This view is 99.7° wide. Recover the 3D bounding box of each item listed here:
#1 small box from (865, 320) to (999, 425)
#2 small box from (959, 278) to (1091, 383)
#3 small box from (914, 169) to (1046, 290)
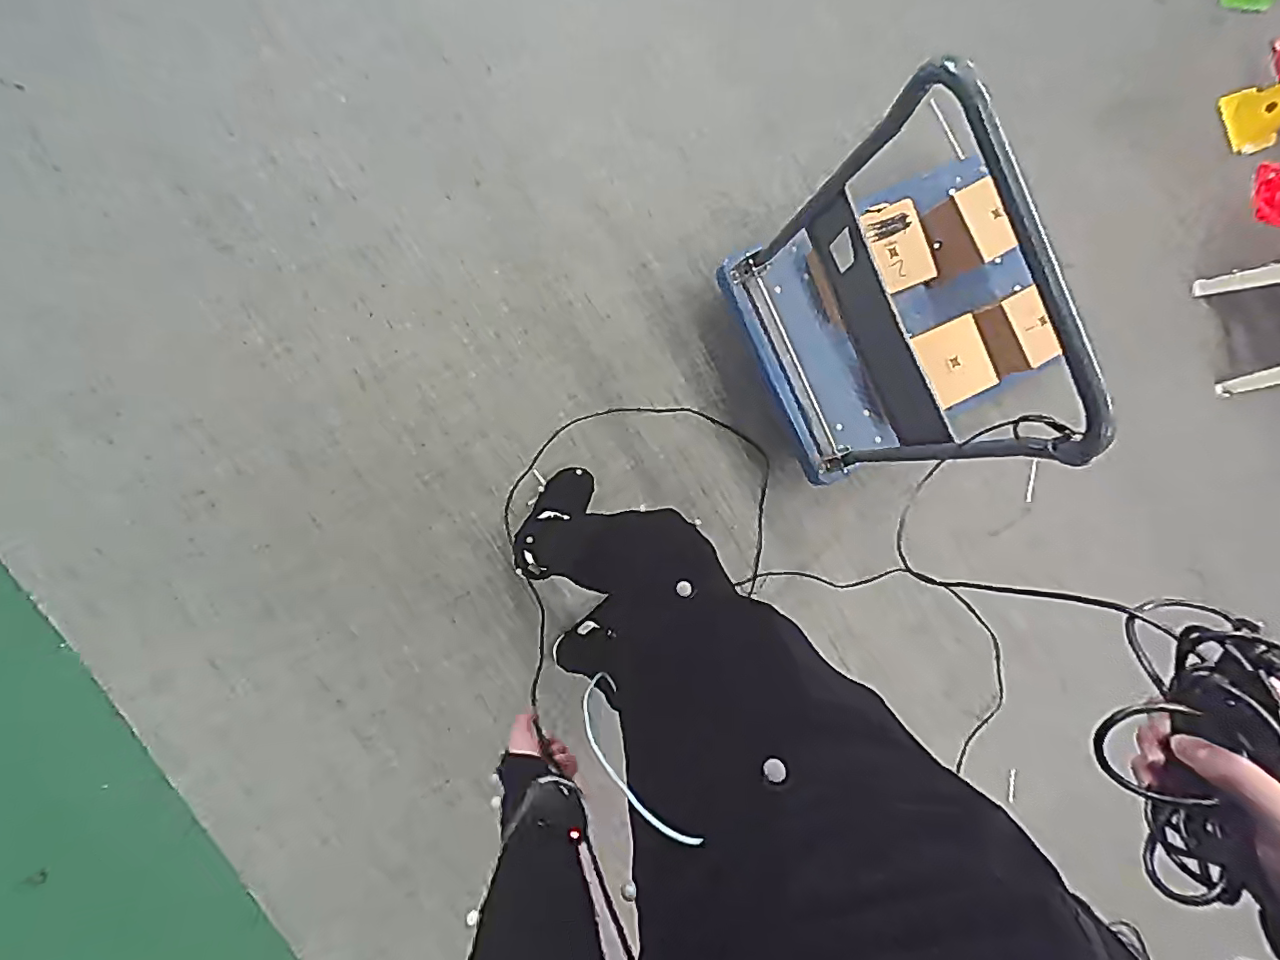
[{"bbox_3d":[0.652,-0.236,1.221,0.179,0.176,0.168,-24,93,-10],"label":"small box"},{"bbox_3d":[0.884,-0.338,1.267,0.179,0.176,0.168,-27,93,-10],"label":"small box"},{"bbox_3d":[0.770,-0.568,1.251,0.179,0.176,0.168,-29,95,-11],"label":"small box"}]
